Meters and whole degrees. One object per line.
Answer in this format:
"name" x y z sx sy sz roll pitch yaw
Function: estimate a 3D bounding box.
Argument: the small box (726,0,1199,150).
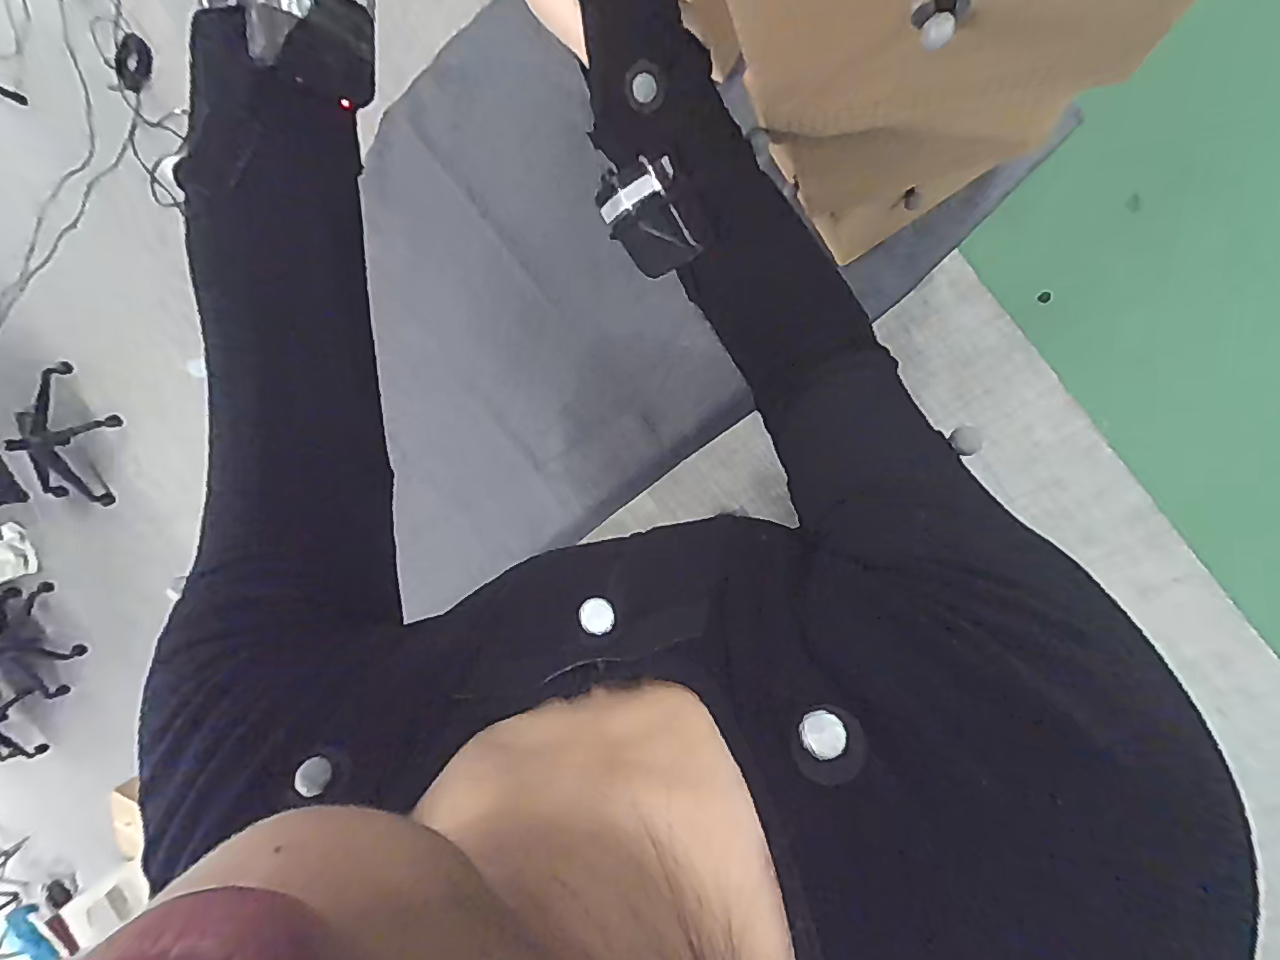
"small box" 0.132 -0.261 0.211 0.179 0.176 0.168 3 98 22

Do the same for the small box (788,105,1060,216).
"small box" 0.181 -0.305 0.364 0.179 0.176 0.168 -8 95 22

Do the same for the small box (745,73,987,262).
"small box" 0.230 -0.340 0.517 0.179 0.176 0.168 -31 86 24

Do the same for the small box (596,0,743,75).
"small box" 0.041 -0.559 0.549 0.179 0.176 0.168 33 113 10
